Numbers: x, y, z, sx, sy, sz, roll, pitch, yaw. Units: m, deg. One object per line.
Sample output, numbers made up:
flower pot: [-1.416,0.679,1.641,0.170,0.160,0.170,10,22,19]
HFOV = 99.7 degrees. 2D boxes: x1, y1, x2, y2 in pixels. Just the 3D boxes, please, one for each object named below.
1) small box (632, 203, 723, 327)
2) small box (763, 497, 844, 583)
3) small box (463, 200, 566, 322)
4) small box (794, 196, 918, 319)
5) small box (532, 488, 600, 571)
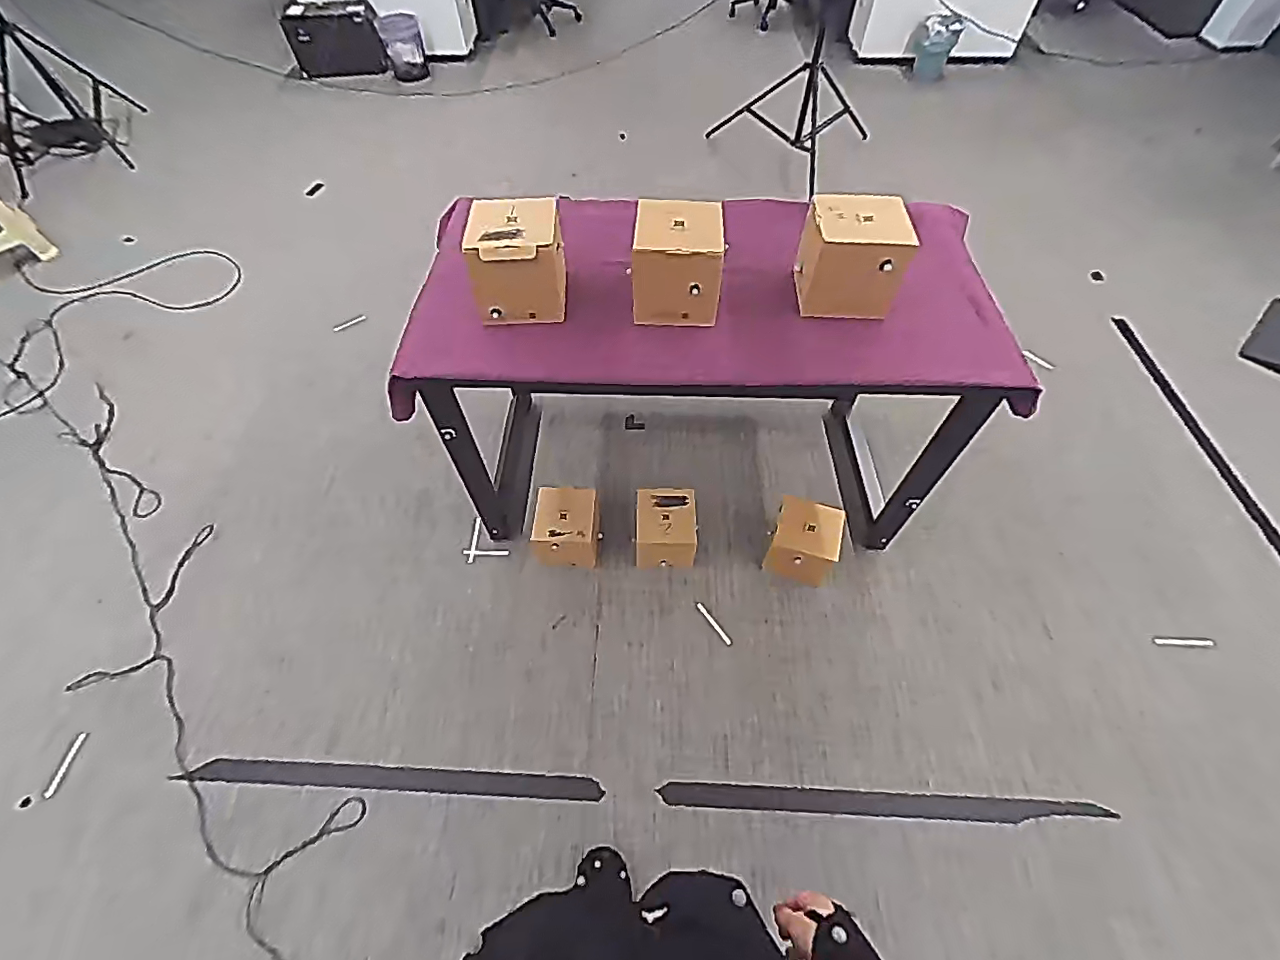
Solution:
small box: [0.073,-0.424,1.076,0.168,0.176,0.179,3,54,1]
small box: [0.464,0.177,1.549,0.179,0.176,0.168,15,58,12]
small box: [-0.239,-0.430,1.077,0.168,0.176,0.179,-3,54,-2]
small box: [0.421,-0.441,1.084,0.179,0.176,0.168,2,55,2]
small box: [-0.208,0.145,1.572,0.168,0.176,0.179,3,55,2]
